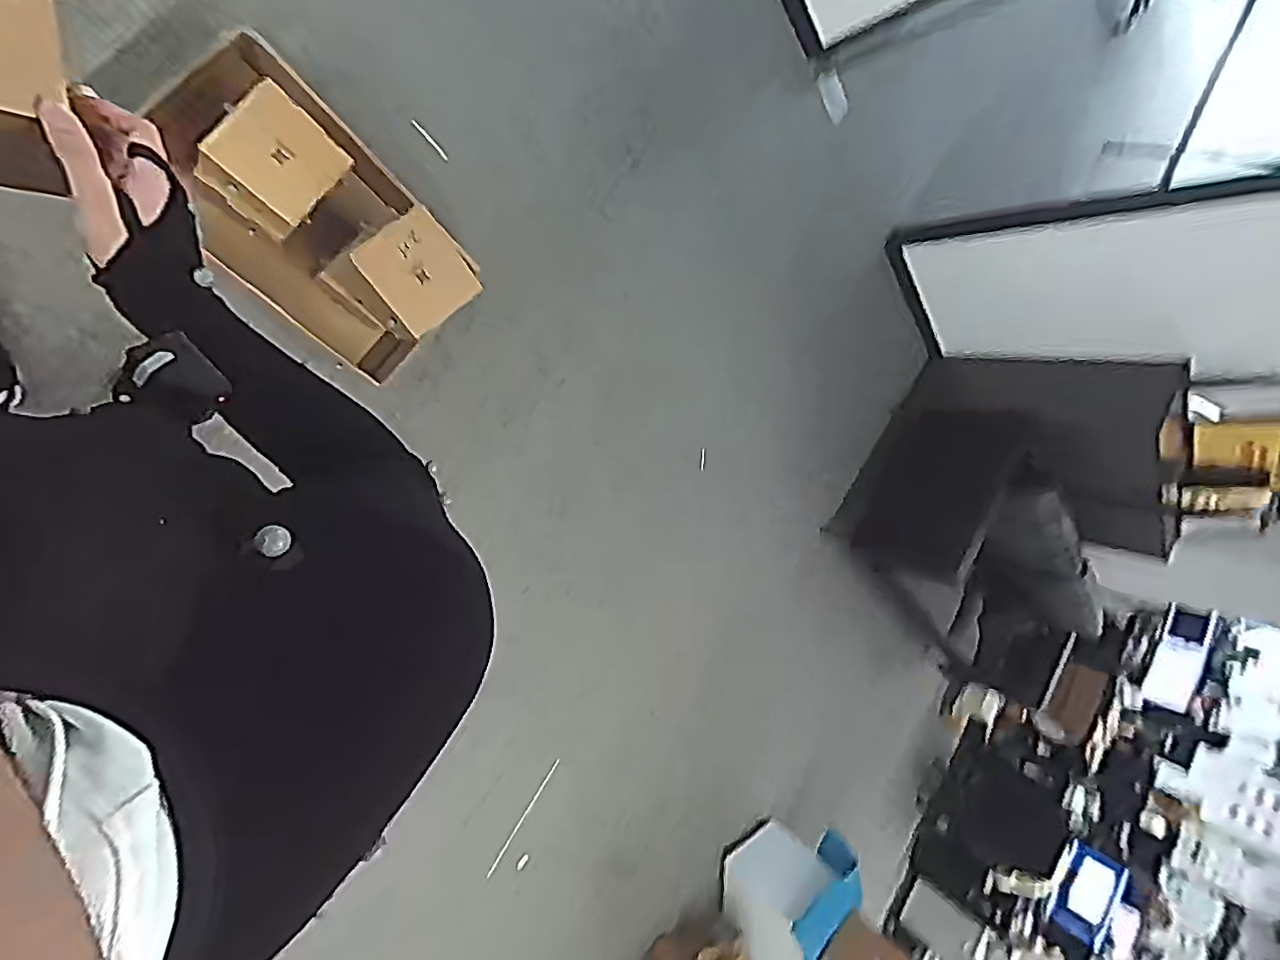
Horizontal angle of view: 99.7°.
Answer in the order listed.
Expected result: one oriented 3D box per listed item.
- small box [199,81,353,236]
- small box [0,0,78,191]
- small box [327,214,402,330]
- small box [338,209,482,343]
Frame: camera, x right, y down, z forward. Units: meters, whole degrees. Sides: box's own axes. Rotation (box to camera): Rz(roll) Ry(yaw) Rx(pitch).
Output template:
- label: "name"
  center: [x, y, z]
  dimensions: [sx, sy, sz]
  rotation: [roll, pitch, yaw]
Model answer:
- label: "small box"
  center: [-0.681, -0.588, 1.017]
  dimensions: [0.168, 0.176, 0.179]
  rotation: [42, 75, -39]
- label: "small box"
  center: [-0.532, -0.328, 0.375]
  dimensions: [0.179, 0.176, 0.168]
  rotation: [-9, 99, -43]
- label: "small box"
  center: [-0.536, -0.435, 1.162]
  dimensions: [0.168, 0.176, 0.179]
  rotation: [-52, 126, -14]
- label: "small box"
  center: [-0.441, -0.384, 1.035]
  dimensions: [0.168, 0.176, 0.179]
  rotation: [-45, 124, -18]
